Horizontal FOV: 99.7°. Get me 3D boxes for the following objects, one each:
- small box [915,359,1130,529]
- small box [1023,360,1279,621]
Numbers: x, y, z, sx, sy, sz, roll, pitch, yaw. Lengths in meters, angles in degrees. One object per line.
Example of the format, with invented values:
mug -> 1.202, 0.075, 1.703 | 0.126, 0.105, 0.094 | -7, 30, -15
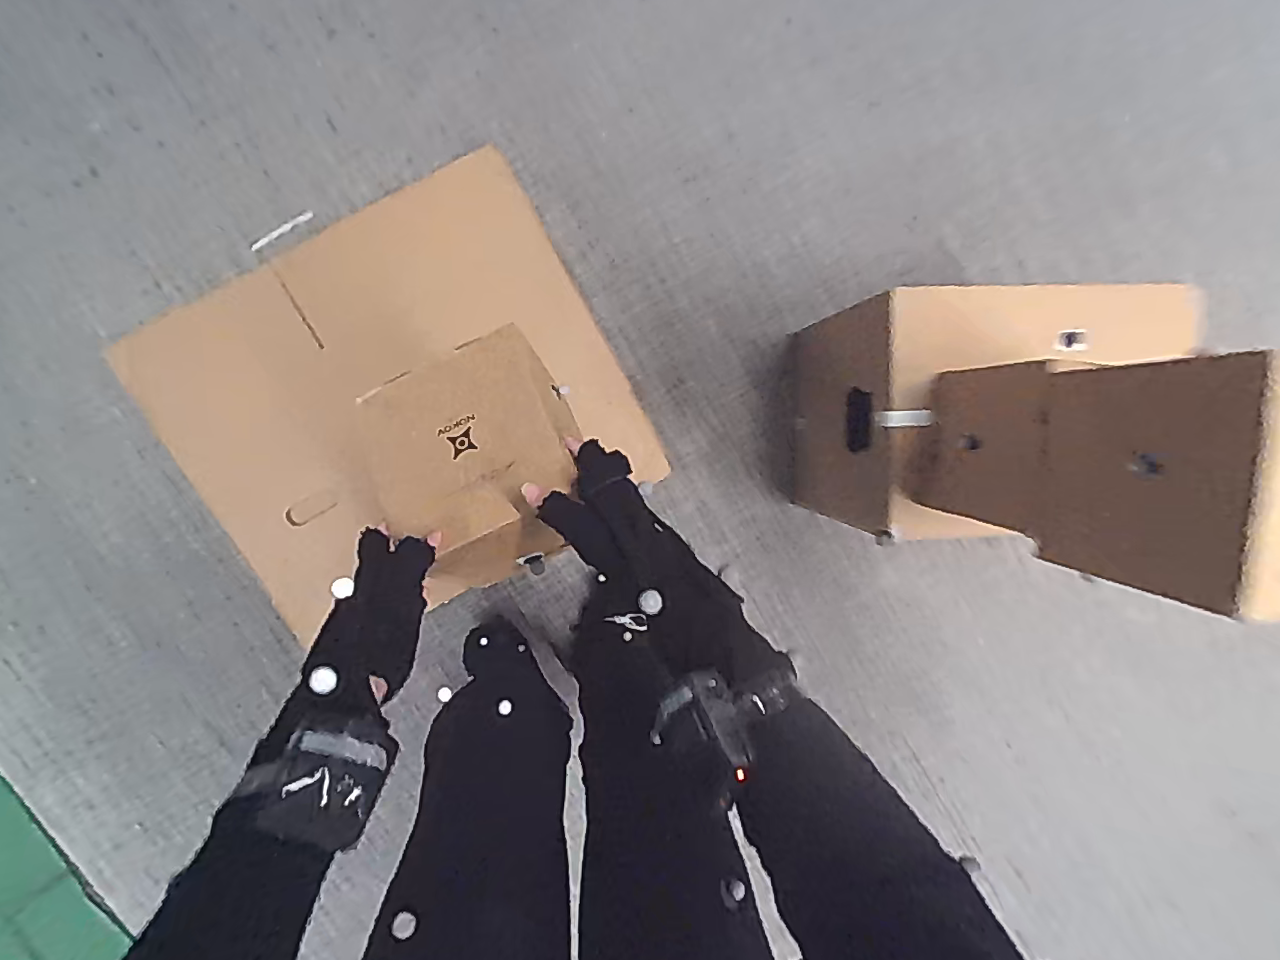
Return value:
small box -> 0.437, -0.034, 0.603 | 0.179, 0.176, 0.168 | 2, 94, -6
small box -> 0.450, -0.004, 0.438 | 0.168, 0.176, 0.179 | -3, 97, -4
